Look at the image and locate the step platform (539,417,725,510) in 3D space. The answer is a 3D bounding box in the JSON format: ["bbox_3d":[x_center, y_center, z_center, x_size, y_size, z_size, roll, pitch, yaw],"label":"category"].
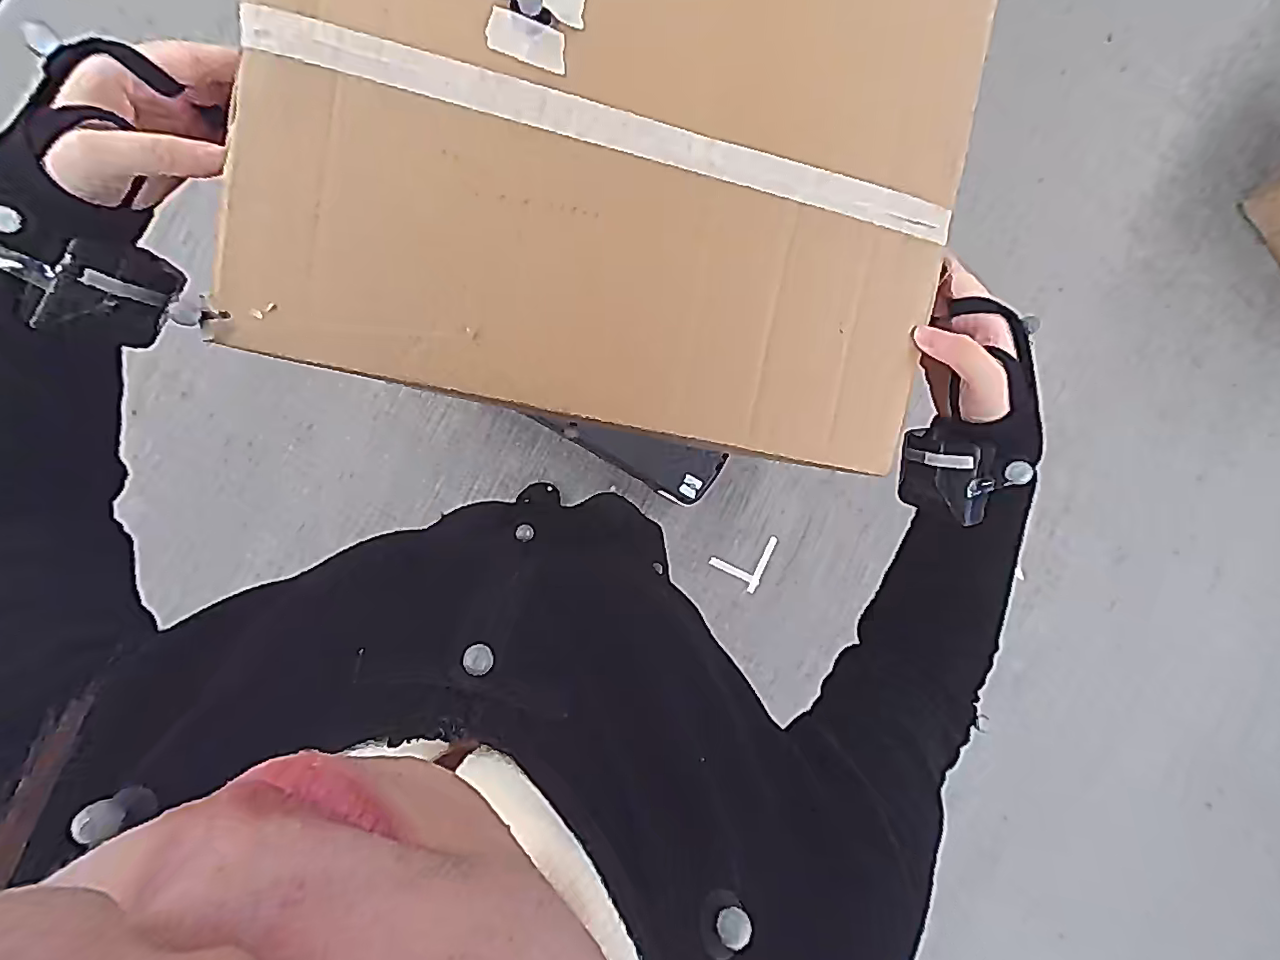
[{"bbox_3d":[-0.094,-0.211,1.403,0.684,0.204,0.286,35,86,-4],"label":"step platform"}]

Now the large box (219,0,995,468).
[{"bbox_3d":[-0.024,-0.202,0.449,0.408,0.320,0.320,10,94,-9],"label":"large box"}]
